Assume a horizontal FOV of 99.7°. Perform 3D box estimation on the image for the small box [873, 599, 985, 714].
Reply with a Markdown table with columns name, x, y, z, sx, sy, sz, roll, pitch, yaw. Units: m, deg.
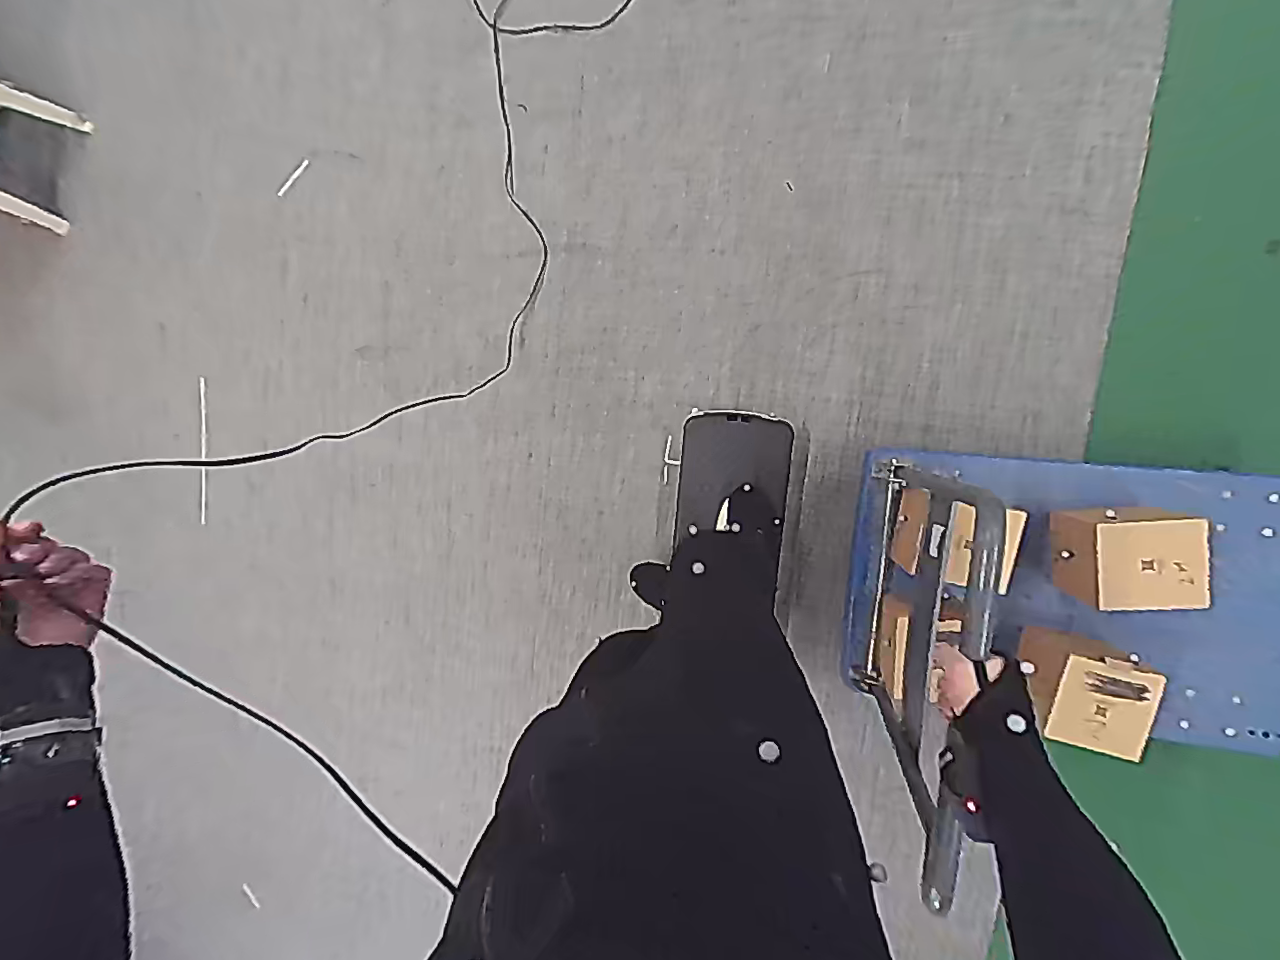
| name | x | y | z | sx | sy | sz | roll | pitch | yaw |
| --- | --- | --- | --- | --- | --- | --- | --- | --- | --- |
| small box | 0.598 | 0.361 | 1.139 | 0.168 | 0.176 | 0.179 | 2 | 96 | 12 |

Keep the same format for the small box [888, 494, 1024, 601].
| name | x | y | z | sx | sy | sz | roll | pitch | yaw |
| --- | --- | --- | --- | --- | --- | --- | --- | --- | --- |
| small box | 0.639 | 0.129 | 1.115 | 0.179 | 0.176 | 0.168 | 12 | 97 | 11 |

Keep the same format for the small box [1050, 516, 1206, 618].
| name | x | y | z | sx | sy | sz | roll | pitch | yaw |
| --- | --- | --- | --- | --- | --- | --- | --- | --- | --- |
| small box | 0.936 | 0.164 | 1.055 | 0.179 | 0.176 | 0.168 | -3 | 94 | 12 |
